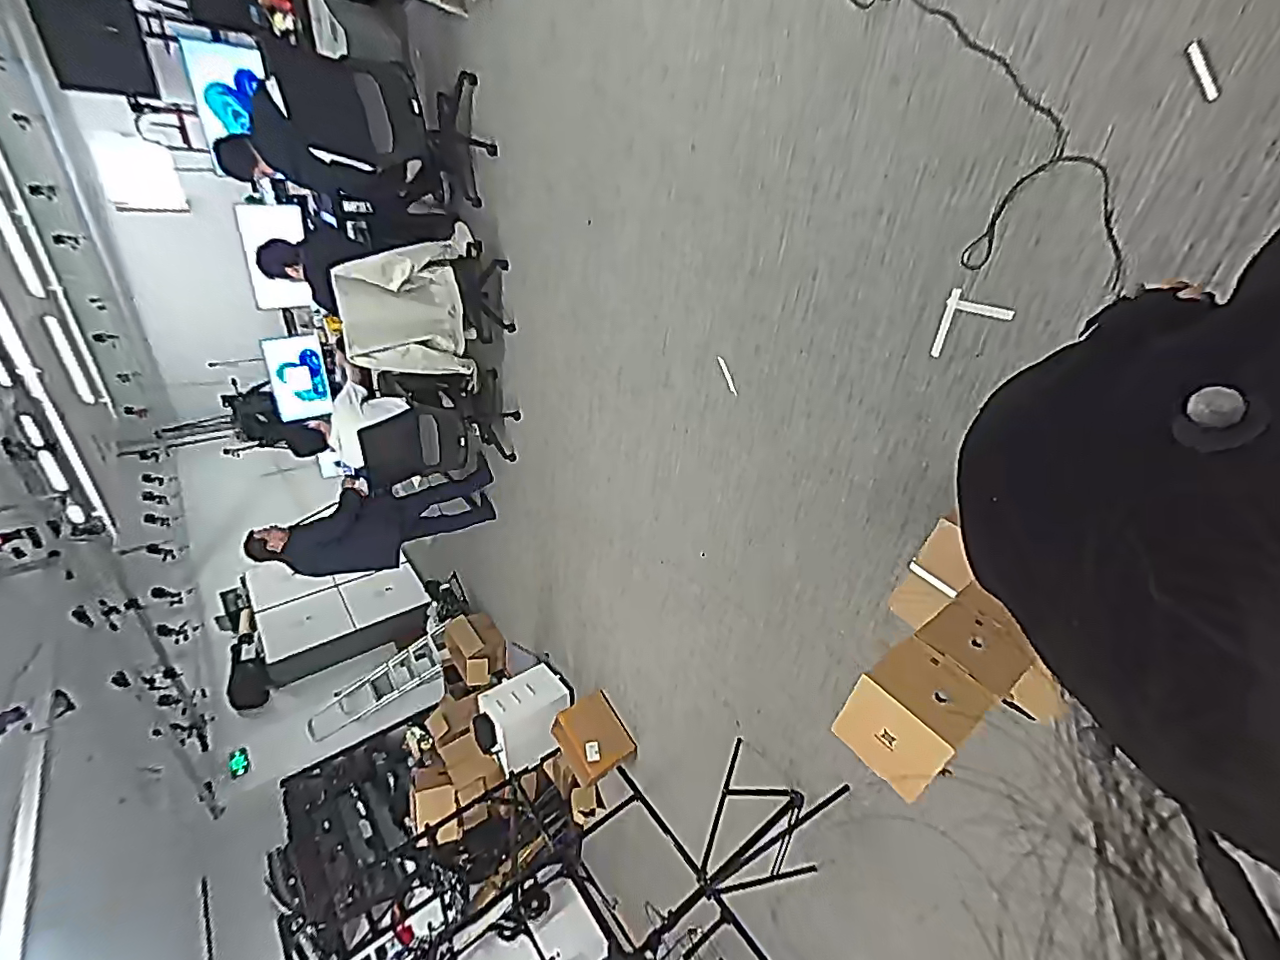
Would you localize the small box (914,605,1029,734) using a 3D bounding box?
[{"bbox_3d":[0.606,0.372,1.040,0.168,0.176,0.179,41,135,36],"label":"small box"}]

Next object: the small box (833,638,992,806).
[{"bbox_3d":[0.477,0.412,0.947,0.168,0.176,0.179,39,135,37],"label":"small box"}]
